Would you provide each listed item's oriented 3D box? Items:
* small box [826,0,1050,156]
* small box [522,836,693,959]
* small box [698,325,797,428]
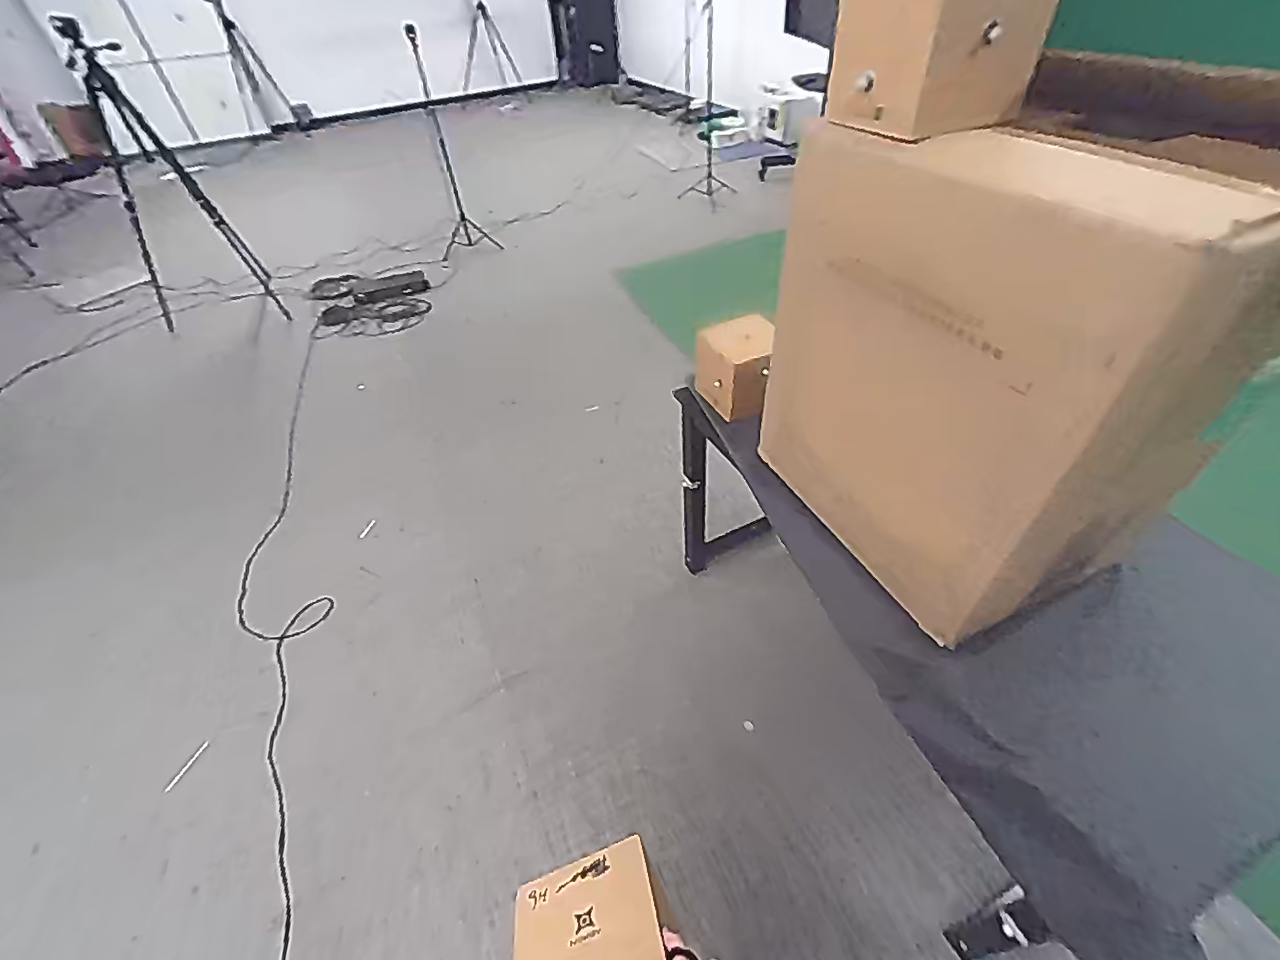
[{"bbox_3d":[0.364,-0.533,0.687,0.179,0.176,0.168,-20,44,-14],"label":"small box"},{"bbox_3d":[-0.025,0.567,0.612,0.168,0.176,0.179,-21,14,-7],"label":"small box"},{"bbox_3d":[0.256,-0.253,1.330,0.179,0.176,0.168,-20,47,-18],"label":"small box"}]
